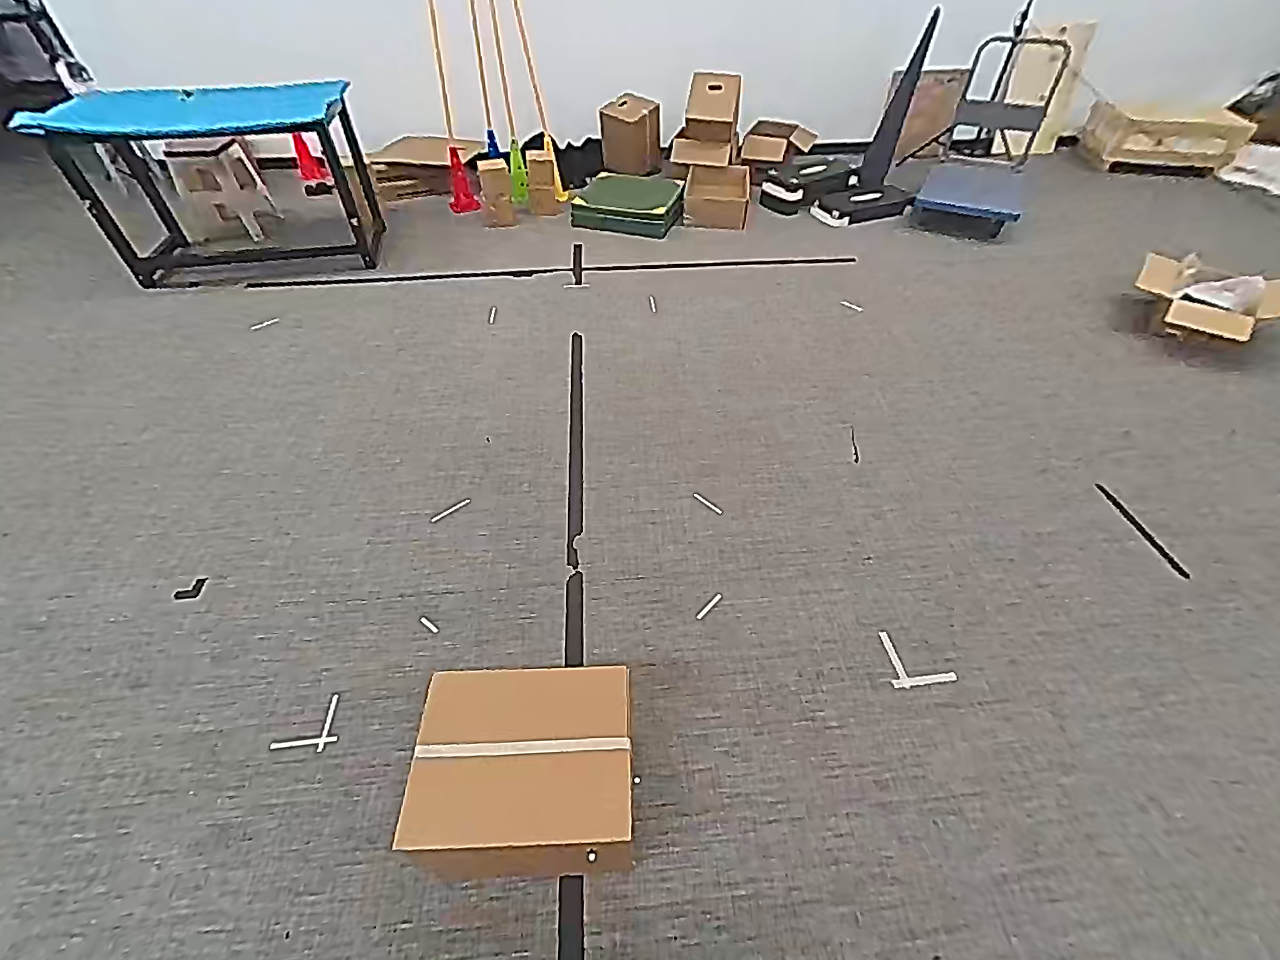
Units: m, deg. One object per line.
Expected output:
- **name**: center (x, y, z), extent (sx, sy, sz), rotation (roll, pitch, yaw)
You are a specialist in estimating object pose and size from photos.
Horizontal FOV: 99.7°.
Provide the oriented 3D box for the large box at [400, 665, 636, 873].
- **large box**: center (-0.215, 0.606, 1.130), extent (0.408, 0.320, 0.320), rotation (-1, 46, -1)
